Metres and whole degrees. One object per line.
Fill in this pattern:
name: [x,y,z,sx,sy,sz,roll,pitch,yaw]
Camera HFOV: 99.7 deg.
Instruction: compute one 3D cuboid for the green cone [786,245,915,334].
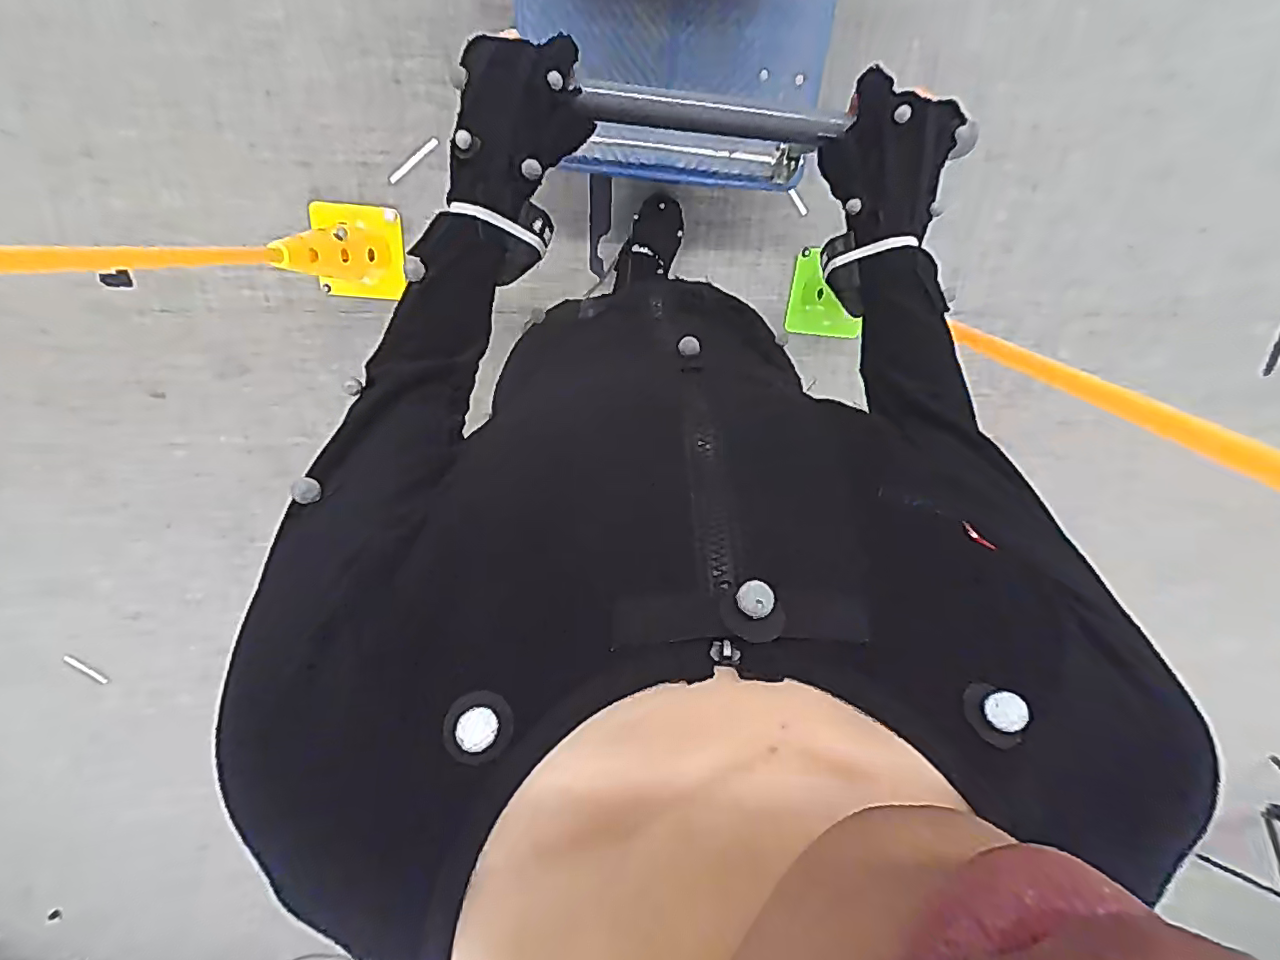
green cone: [0.486,-0.403,1.190,0.202,0.368,0.200,3,113,-6]
